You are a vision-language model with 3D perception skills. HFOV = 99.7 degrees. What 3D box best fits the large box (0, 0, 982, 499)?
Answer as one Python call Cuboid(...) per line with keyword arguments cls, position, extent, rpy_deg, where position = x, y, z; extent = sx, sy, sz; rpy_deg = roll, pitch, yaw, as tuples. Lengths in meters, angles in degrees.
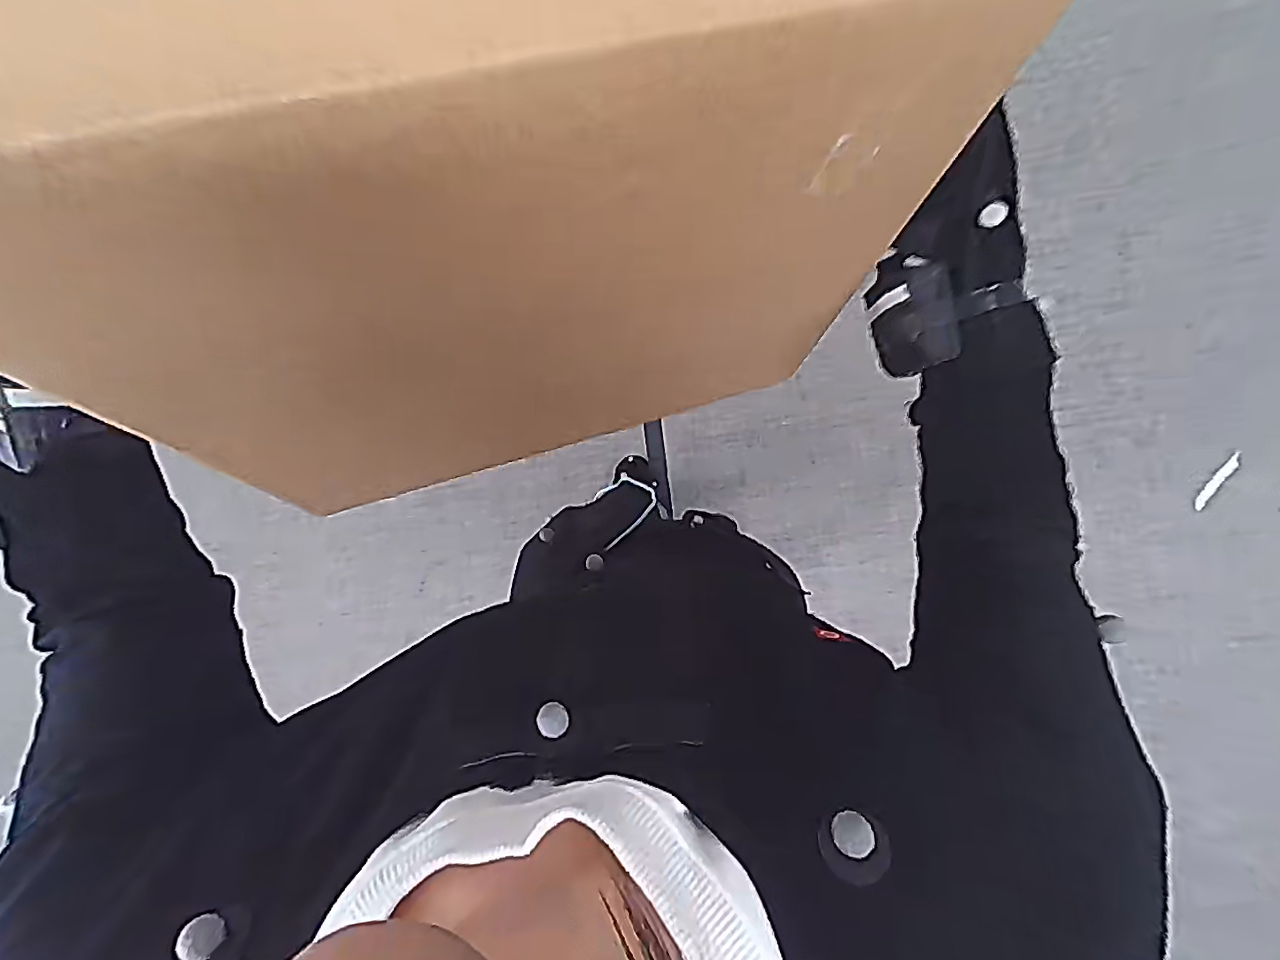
Cuboid(cls="large box", position=(-0.107, -0.222, 0.363), extent=(0.408, 0.320, 0.320), rpy_deg=(-17, 76, -11))
